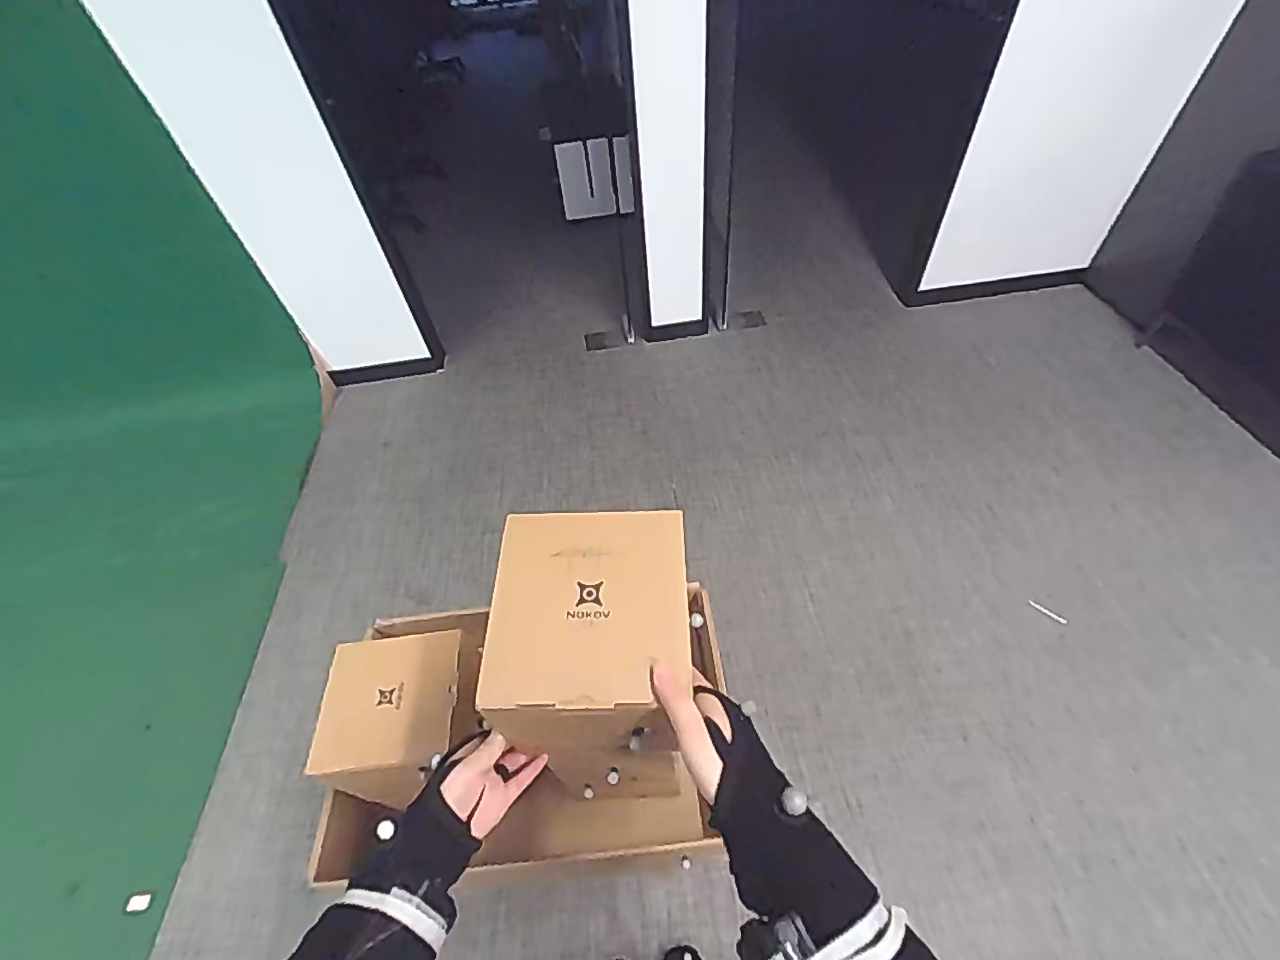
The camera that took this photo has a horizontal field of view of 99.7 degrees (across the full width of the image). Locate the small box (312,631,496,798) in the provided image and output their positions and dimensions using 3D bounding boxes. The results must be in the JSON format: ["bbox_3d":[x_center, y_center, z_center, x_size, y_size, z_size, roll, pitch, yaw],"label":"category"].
[{"bbox_3d":[-0.313,0.335,0.764,0.179,0.176,0.168,-7,50,-1],"label":"small box"}]

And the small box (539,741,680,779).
[{"bbox_3d":[-0.031,0.307,0.752,0.168,0.176,0.179,-2,51,4],"label":"small box"}]

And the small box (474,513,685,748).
[{"bbox_3d":[-0.042,0.151,0.522,0.168,0.176,0.179,-2,52,2],"label":"small box"}]
